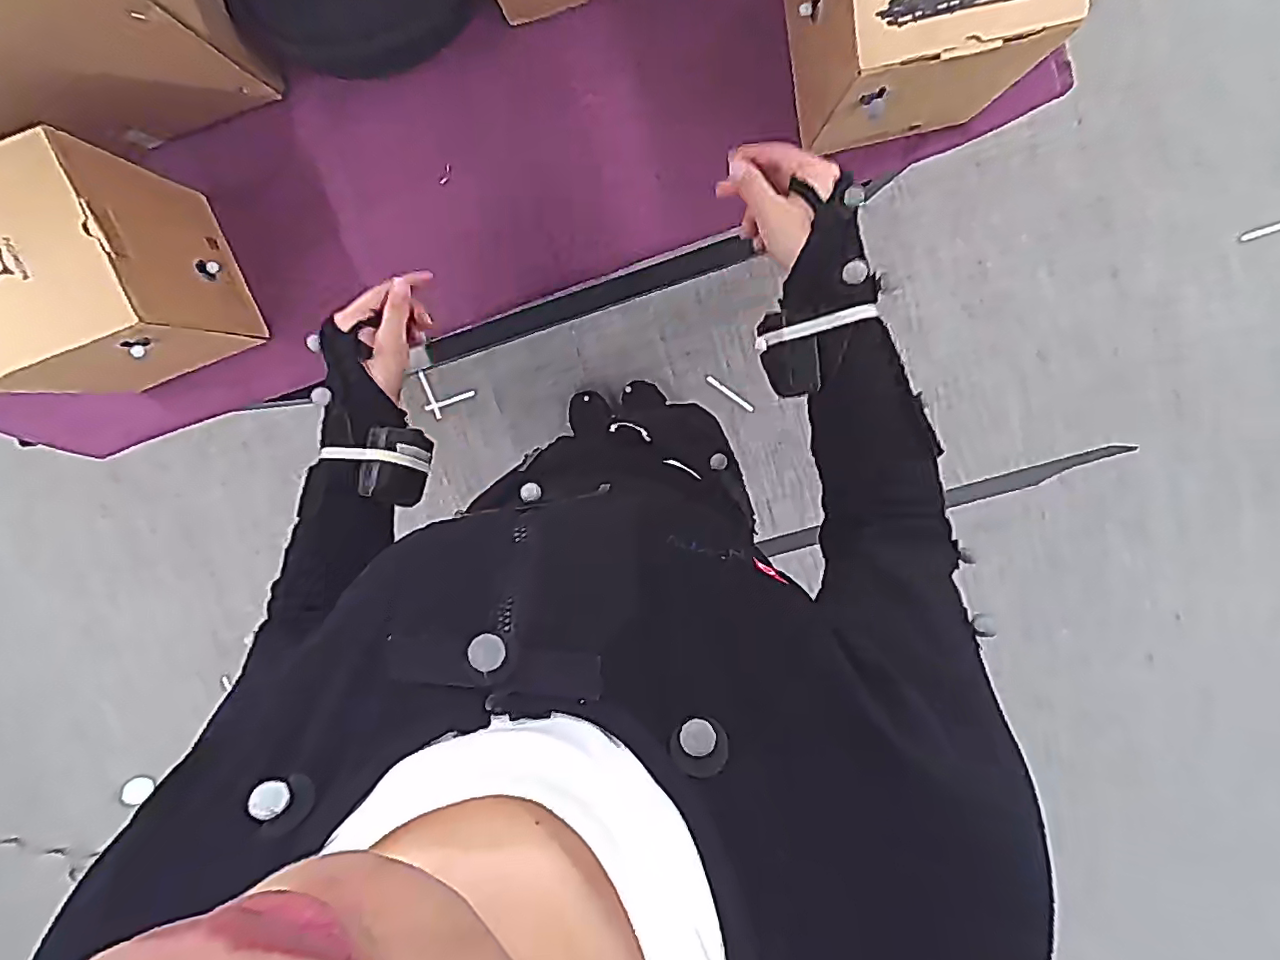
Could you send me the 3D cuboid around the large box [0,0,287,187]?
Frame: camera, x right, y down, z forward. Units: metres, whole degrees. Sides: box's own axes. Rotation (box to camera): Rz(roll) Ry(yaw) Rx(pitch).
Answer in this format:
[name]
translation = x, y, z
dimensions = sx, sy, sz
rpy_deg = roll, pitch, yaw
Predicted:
[large box]
translation = -0.577, -0.515, 0.404
dimensions = 0.320, 0.320, 0.408
rpy_deg = -17, 103, 5
